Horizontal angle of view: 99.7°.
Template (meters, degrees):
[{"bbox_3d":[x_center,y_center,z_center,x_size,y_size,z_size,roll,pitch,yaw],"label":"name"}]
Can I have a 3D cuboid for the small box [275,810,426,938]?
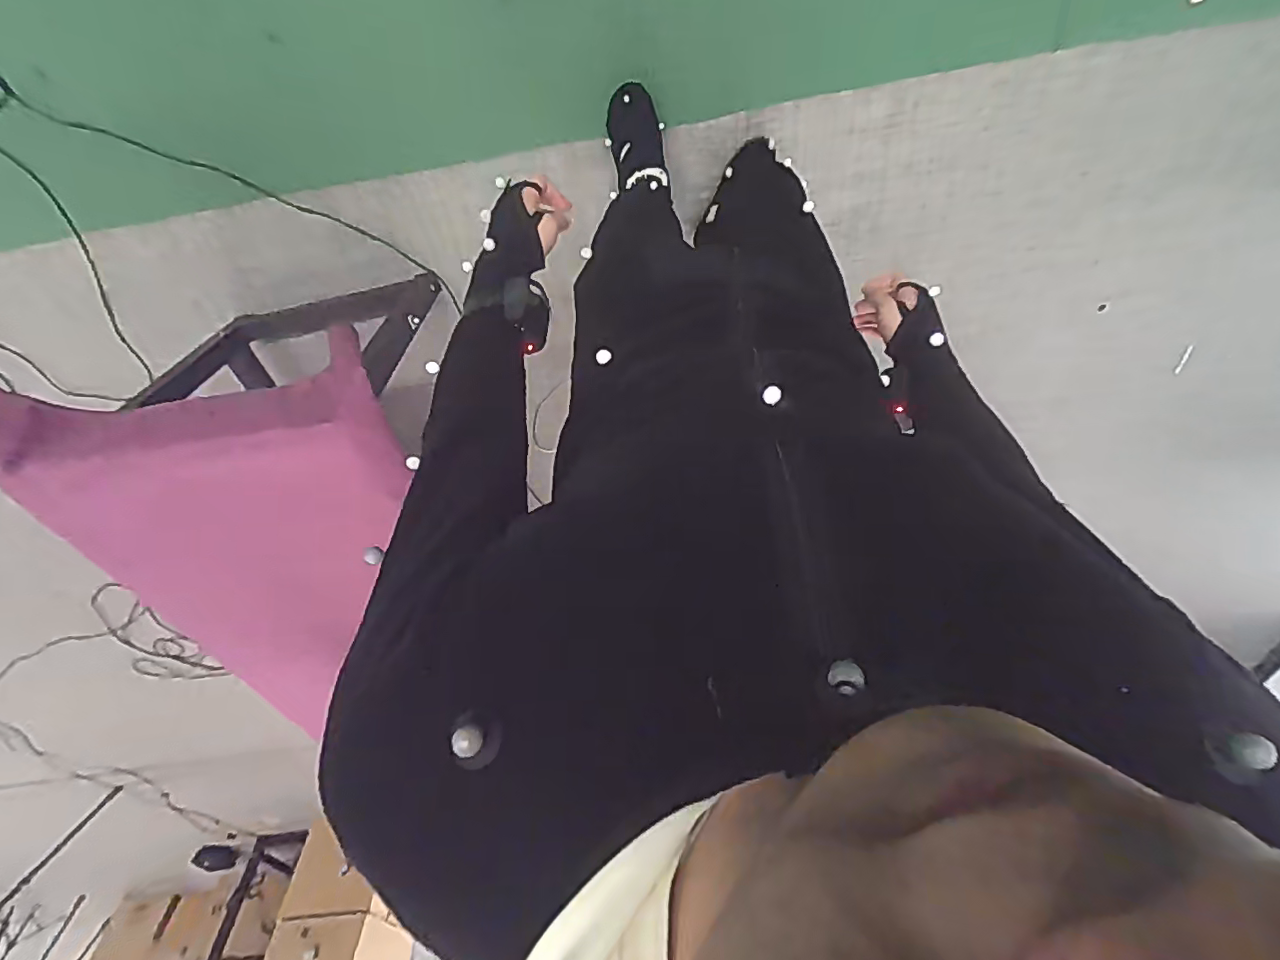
[{"bbox_3d":[-0.523,0.743,1.016,0.179,0.176,0.168,-10,128,5],"label":"small box"}]

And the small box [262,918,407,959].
[{"bbox_3d":[-0.514,0.844,0.886,0.168,0.176,0.179,-10,128,6],"label":"small box"}]
